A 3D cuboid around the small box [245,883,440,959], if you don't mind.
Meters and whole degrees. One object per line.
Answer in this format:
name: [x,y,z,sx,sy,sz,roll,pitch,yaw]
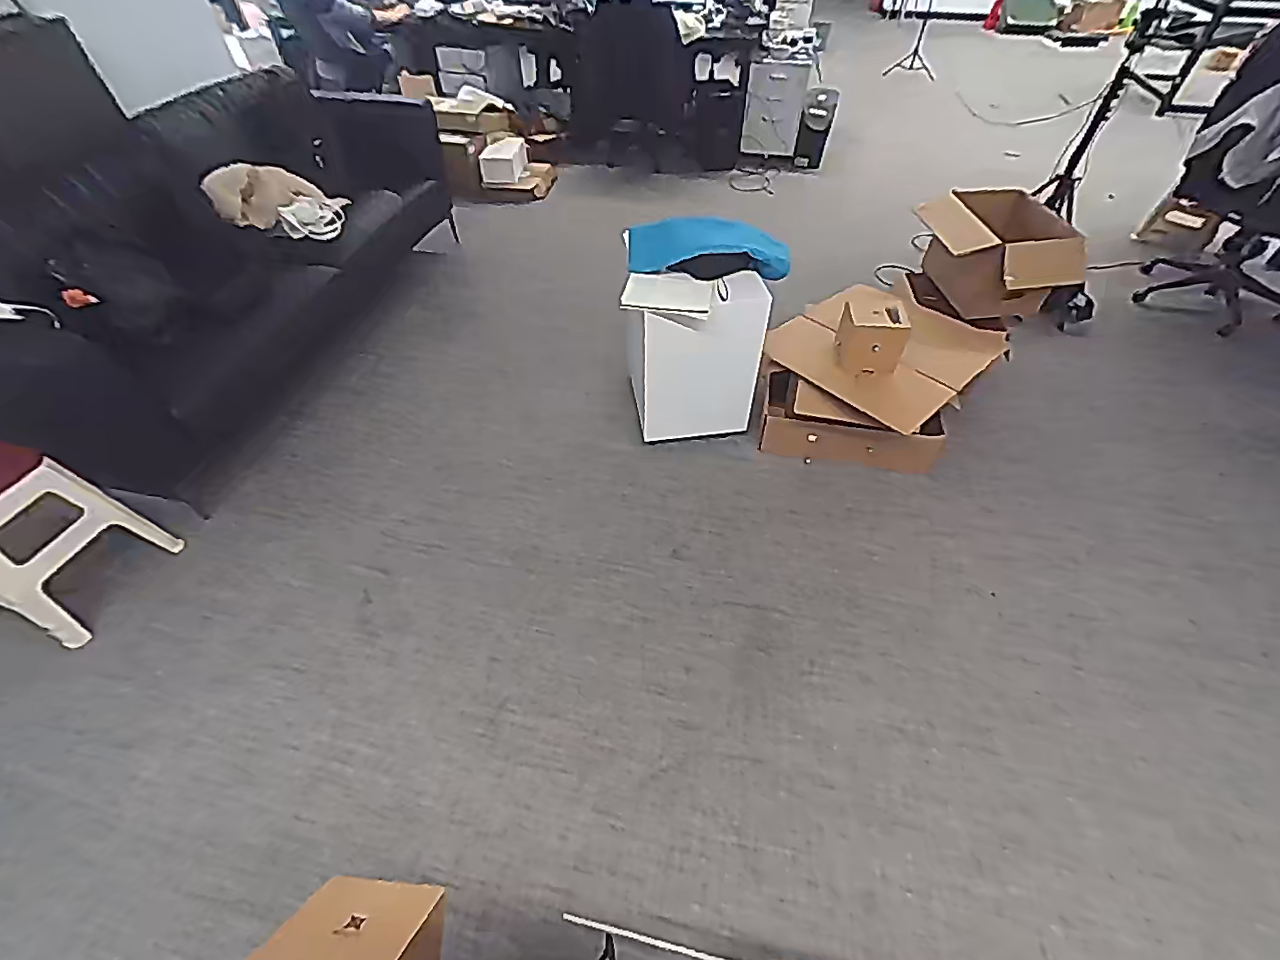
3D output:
small box: [-0.366,0.636,0.652,0.168,0.179,0.176,3,83,4]
